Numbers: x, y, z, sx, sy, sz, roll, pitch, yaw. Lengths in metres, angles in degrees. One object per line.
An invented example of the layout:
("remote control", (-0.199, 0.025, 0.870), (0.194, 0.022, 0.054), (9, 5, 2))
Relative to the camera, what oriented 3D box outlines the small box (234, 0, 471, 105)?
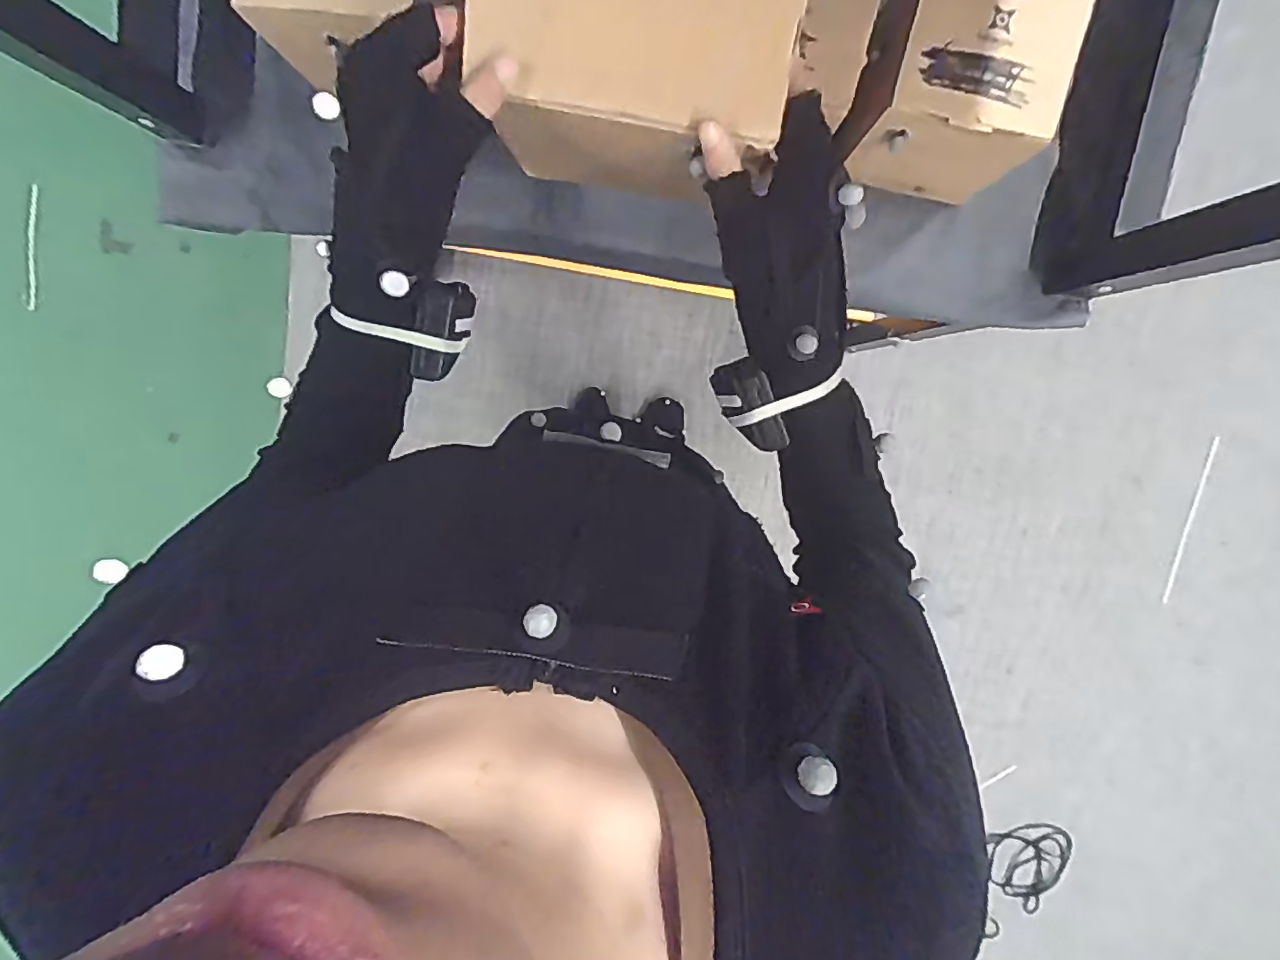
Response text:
("small box", (-0.296, -0.538, 0.582), (0.179, 0.176, 0.168), (5, 100, -1))
